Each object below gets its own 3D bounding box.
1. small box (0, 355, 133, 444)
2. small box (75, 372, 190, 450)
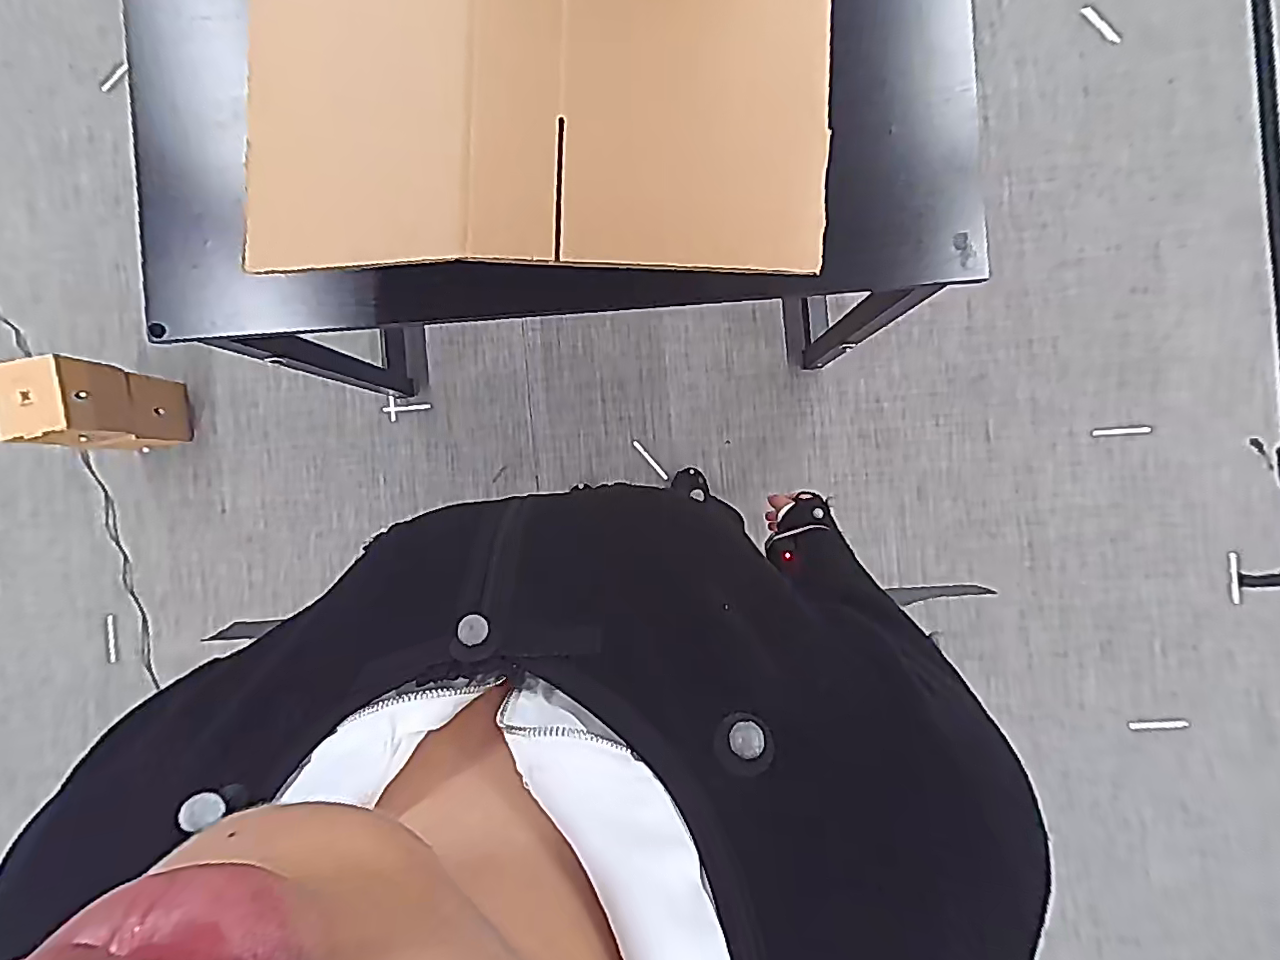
[{"bbox_3d":[-1.374,-0.185,1.294,0.168,0.176,0.179,-10,89,1],"label":"small box"},{"bbox_3d":[-1.369,-0.179,1.457,0.168,0.176,0.179,-8,91,2],"label":"small box"}]
